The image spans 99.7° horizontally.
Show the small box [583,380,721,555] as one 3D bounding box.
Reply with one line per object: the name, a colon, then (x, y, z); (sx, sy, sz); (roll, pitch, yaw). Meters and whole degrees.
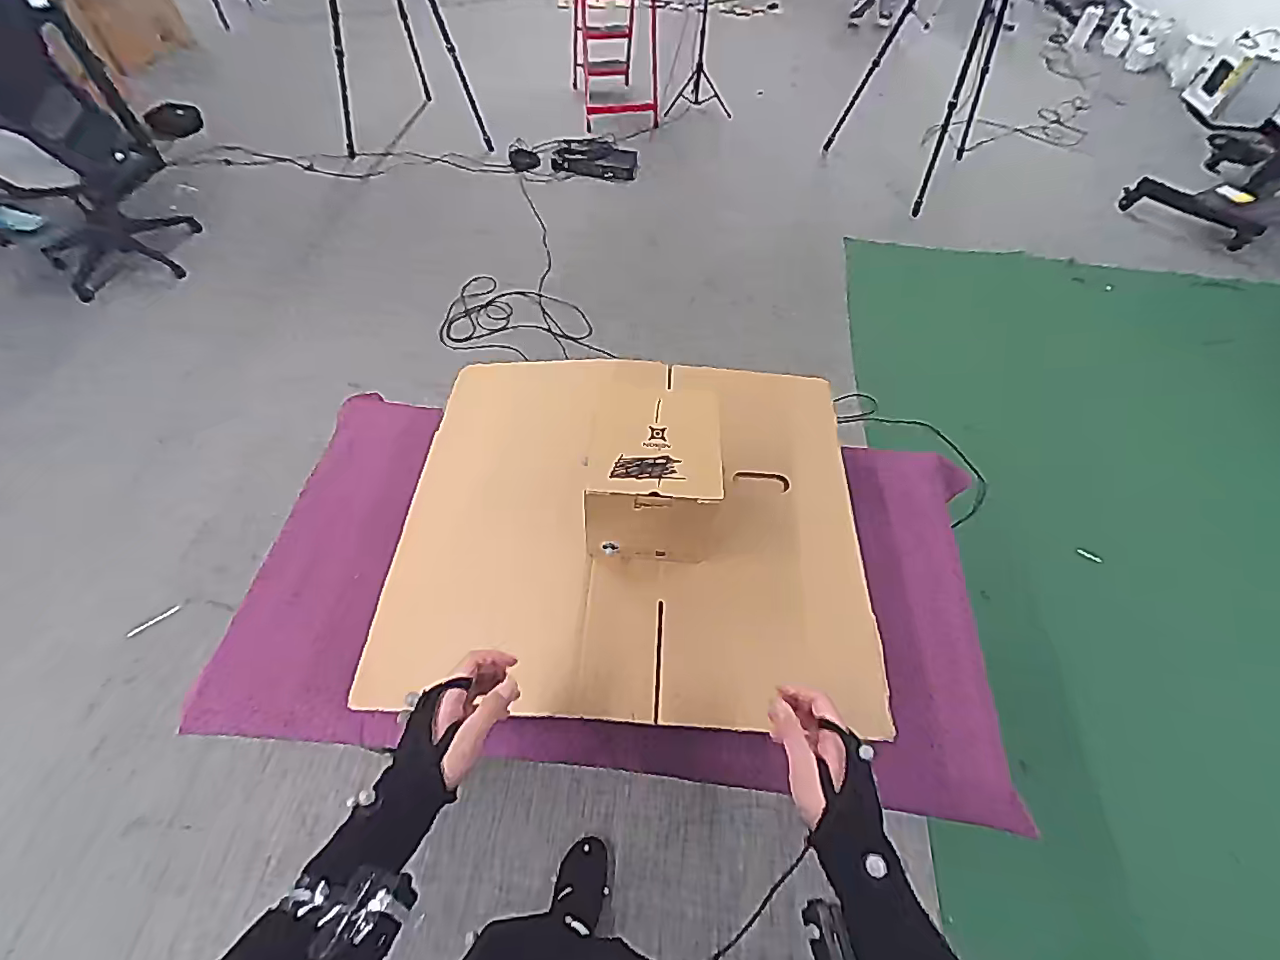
small box: (0.015, -0.011, 0.740); (0.168, 0.176, 0.179); (5, 55, -2)
